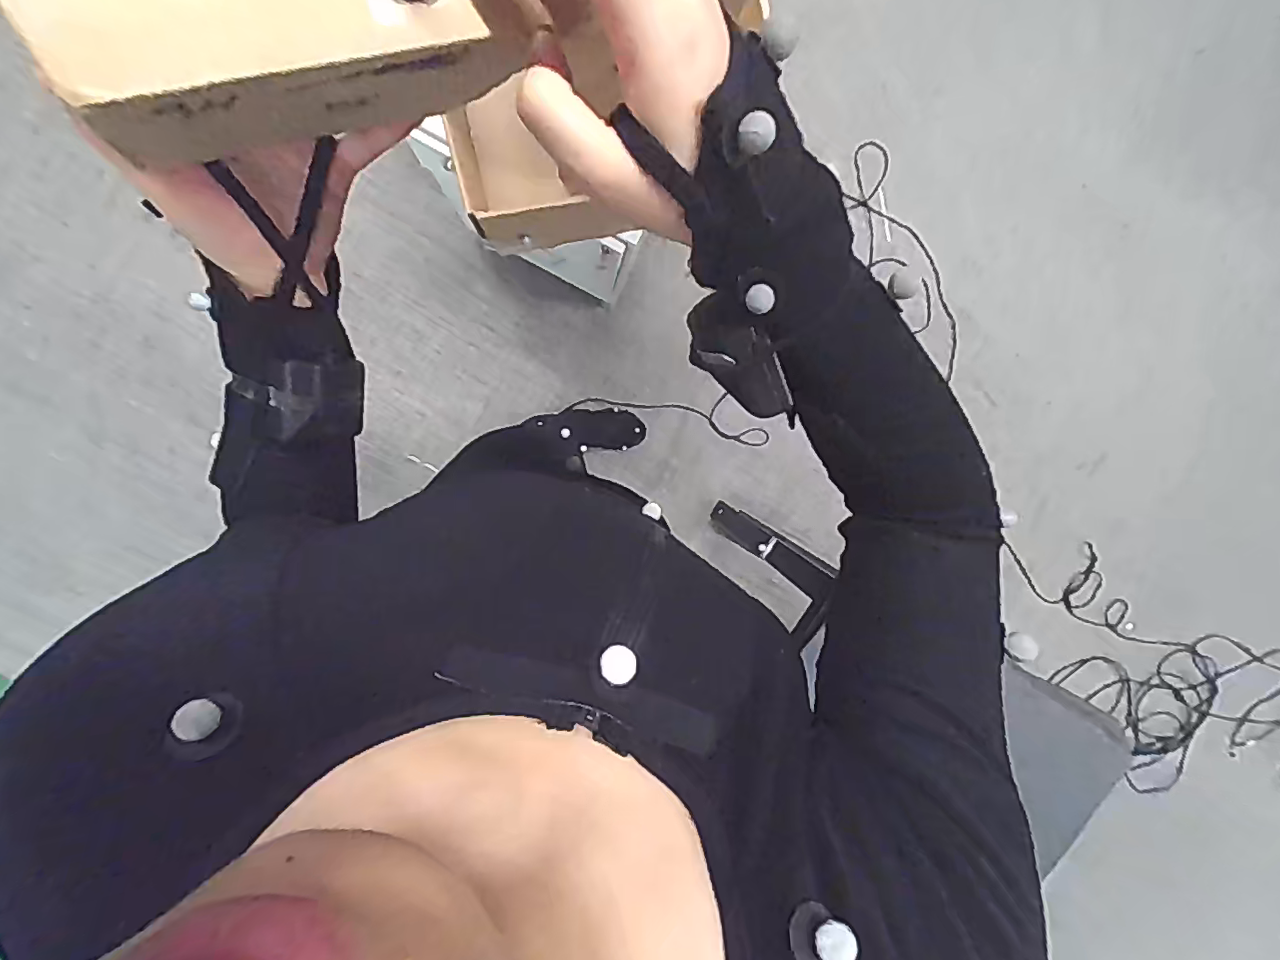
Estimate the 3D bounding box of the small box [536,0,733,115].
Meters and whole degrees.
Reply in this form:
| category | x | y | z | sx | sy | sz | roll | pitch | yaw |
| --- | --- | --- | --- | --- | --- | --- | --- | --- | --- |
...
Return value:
| category | x | y | z | sx | sy | sz | roll | pitch | yaw |
| --- | --- | --- | --- | --- | --- | --- | --- | --- | --- |
| small box | -0.023 | -0.486 | 0.517 | 0.179 | 0.176 | 0.168 | -11 | 98 | -3 |

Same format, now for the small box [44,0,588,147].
| category | x | y | z | sx | sy | sz | roll | pitch | yaw |
| --- | --- | --- | --- | --- | --- | --- | --- | --- | --- |
| small box | -0.147 | -0.241 | 0.194 | 0.168 | 0.179 | 0.176 | -31 | 125 | -23 |
